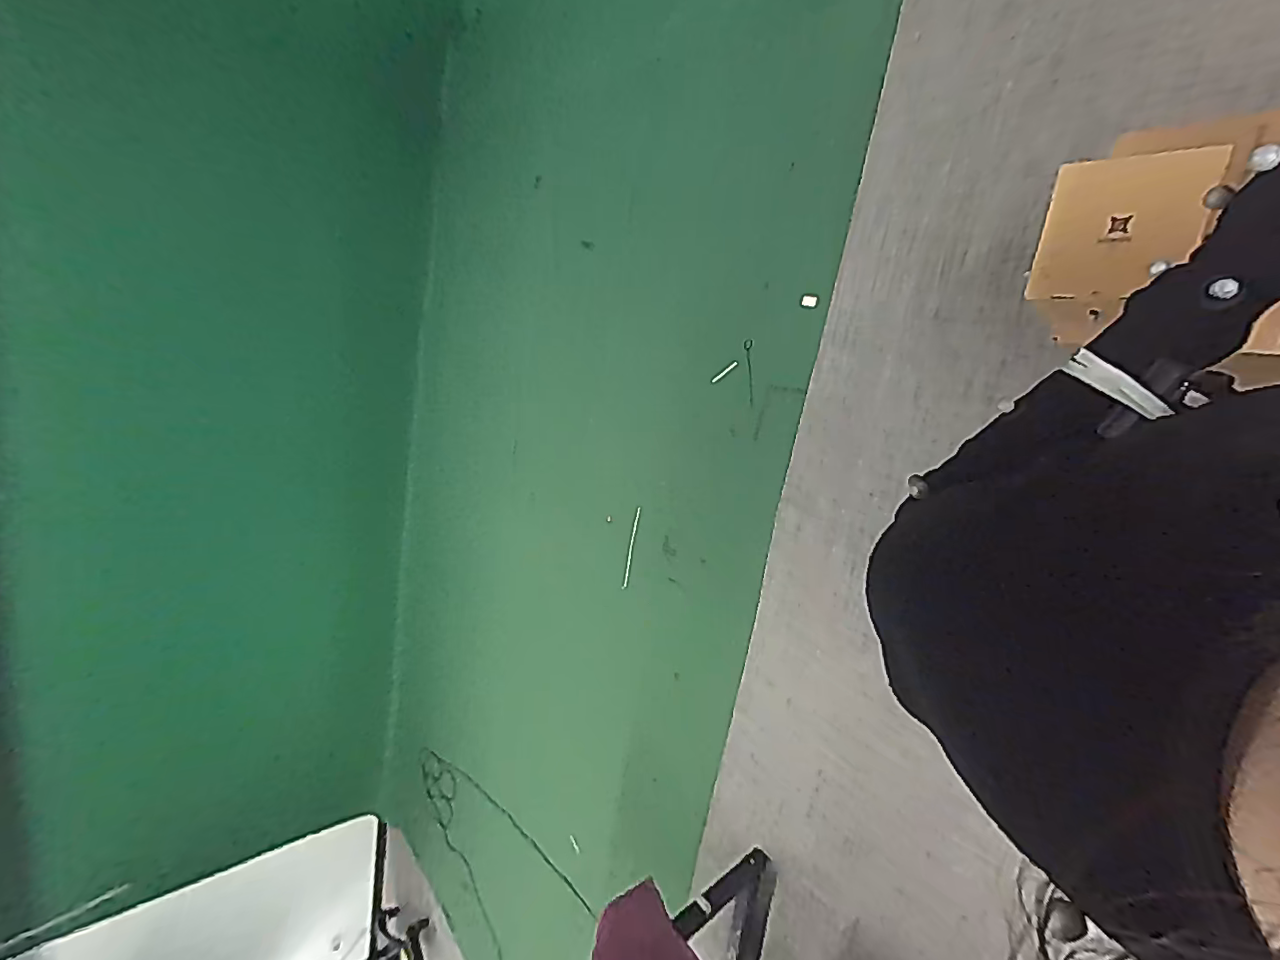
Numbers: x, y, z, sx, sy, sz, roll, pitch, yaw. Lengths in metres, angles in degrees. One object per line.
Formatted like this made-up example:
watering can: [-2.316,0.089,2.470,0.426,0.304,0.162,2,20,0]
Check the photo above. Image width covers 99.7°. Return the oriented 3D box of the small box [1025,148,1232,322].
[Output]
small box: [0.672,-0.326,0.753,0.168,0.176,0.179,21,109,43]
